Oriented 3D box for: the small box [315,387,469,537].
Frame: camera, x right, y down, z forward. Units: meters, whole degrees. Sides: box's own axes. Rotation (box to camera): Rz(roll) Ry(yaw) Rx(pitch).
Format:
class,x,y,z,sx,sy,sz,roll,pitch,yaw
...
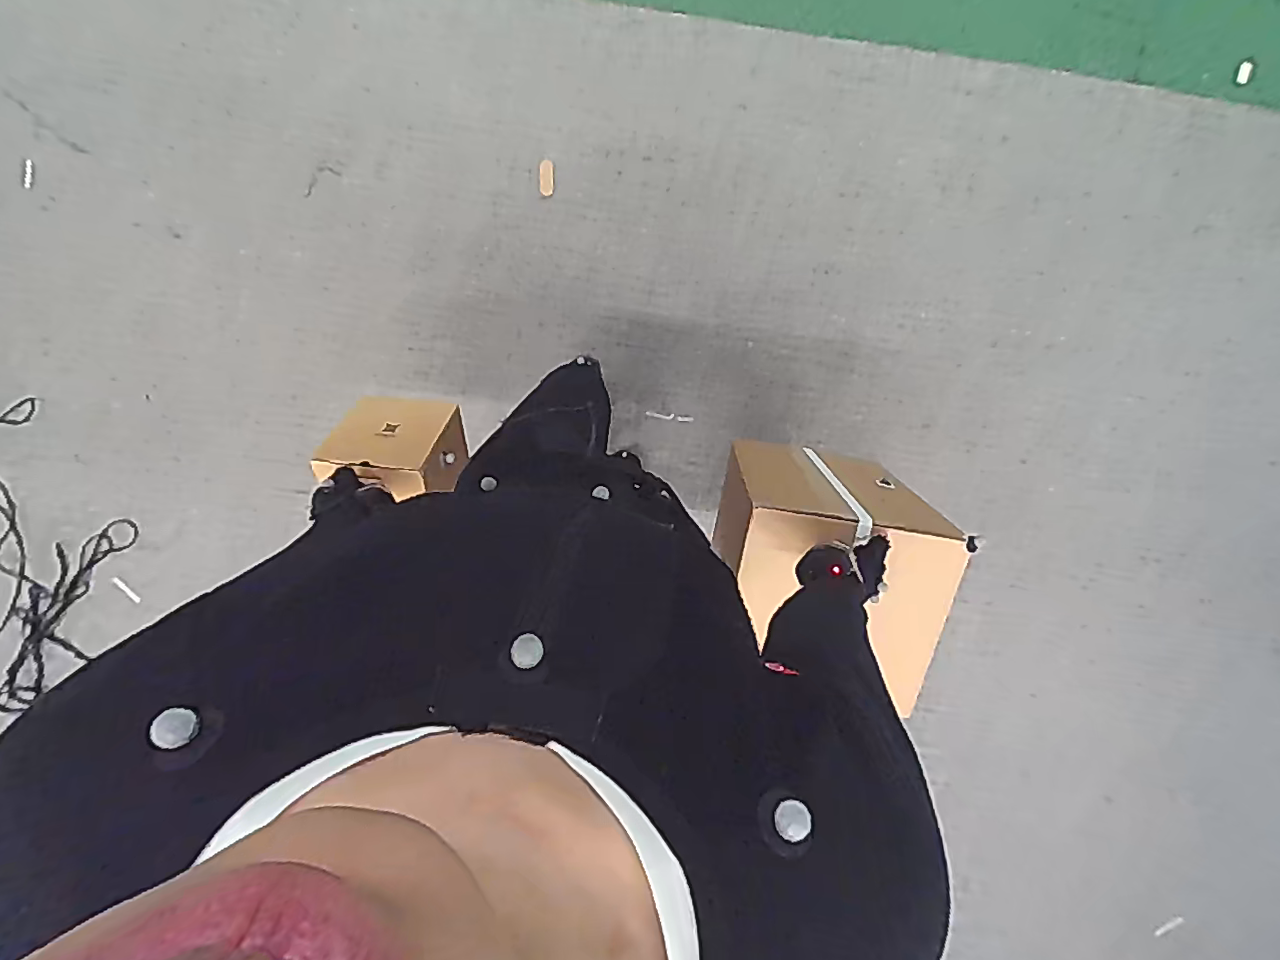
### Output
class,x,y,z,sx,sy,sz,roll,pitch,yaw
small box,-0.395,-0.031,0.903,0.168,0.179,0.176,6,134,1
